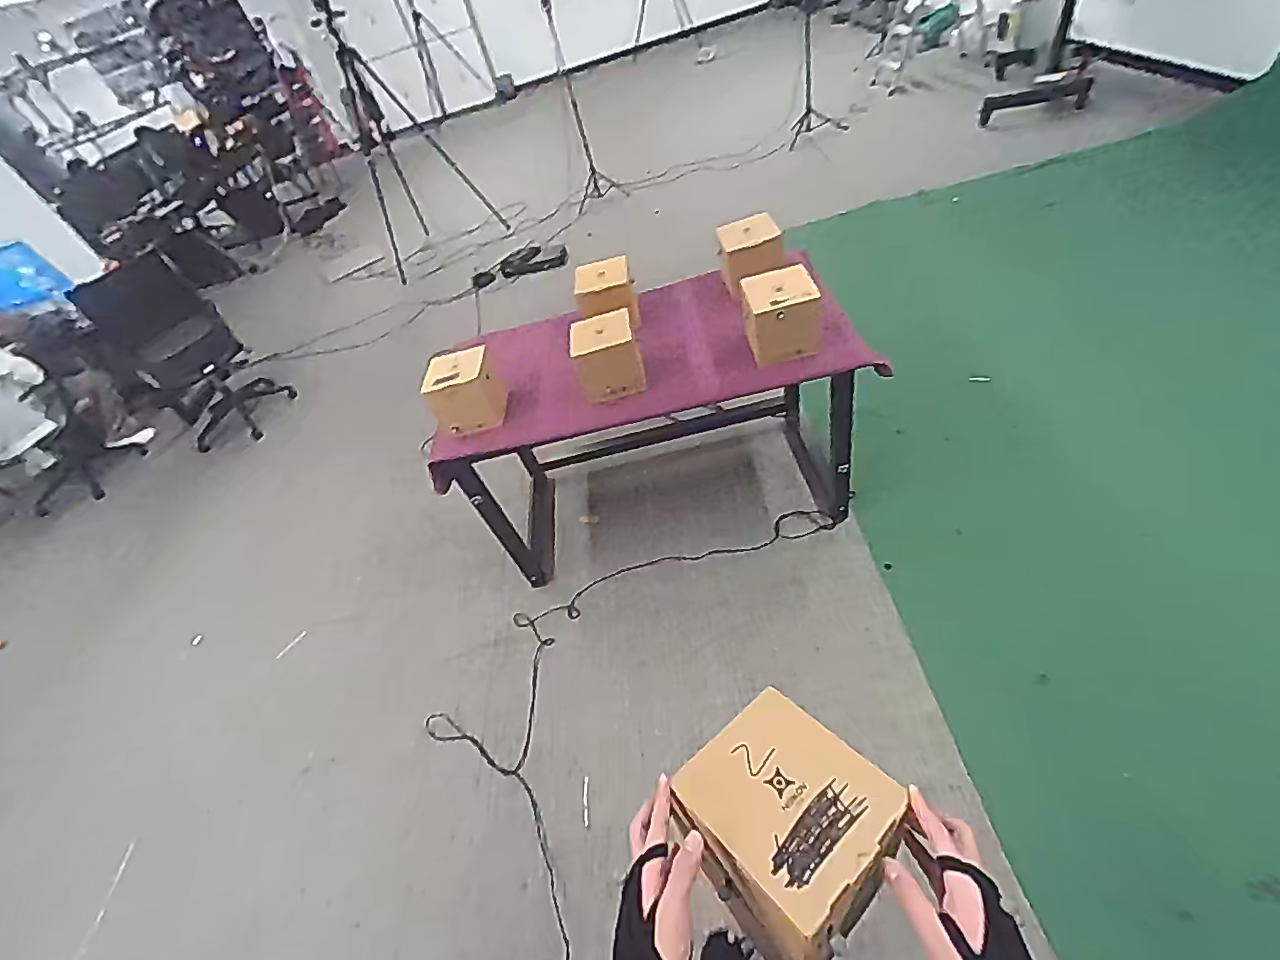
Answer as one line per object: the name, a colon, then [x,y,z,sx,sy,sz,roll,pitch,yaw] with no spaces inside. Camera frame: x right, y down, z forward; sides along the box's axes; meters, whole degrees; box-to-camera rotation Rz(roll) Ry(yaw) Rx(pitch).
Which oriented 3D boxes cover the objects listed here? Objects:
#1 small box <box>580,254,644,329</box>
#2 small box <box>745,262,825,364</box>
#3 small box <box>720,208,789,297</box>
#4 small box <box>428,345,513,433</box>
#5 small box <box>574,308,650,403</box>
small box: [-0.086,-0.582,1.716,0.168,0.176,0.179,-12,49,9]
small box: [0.377,-0.433,1.410,0.168,0.176,0.179,-14,47,10]
small box: [0.352,-0.692,1.652,0.168,0.176,0.179,-16,47,9]
small box: [-0.478,-0.253,1.553,0.168,0.176,0.179,-13,44,8]
small box: [-0.075,-0.343,1.494,0.168,0.176,0.179,-14,45,8]
